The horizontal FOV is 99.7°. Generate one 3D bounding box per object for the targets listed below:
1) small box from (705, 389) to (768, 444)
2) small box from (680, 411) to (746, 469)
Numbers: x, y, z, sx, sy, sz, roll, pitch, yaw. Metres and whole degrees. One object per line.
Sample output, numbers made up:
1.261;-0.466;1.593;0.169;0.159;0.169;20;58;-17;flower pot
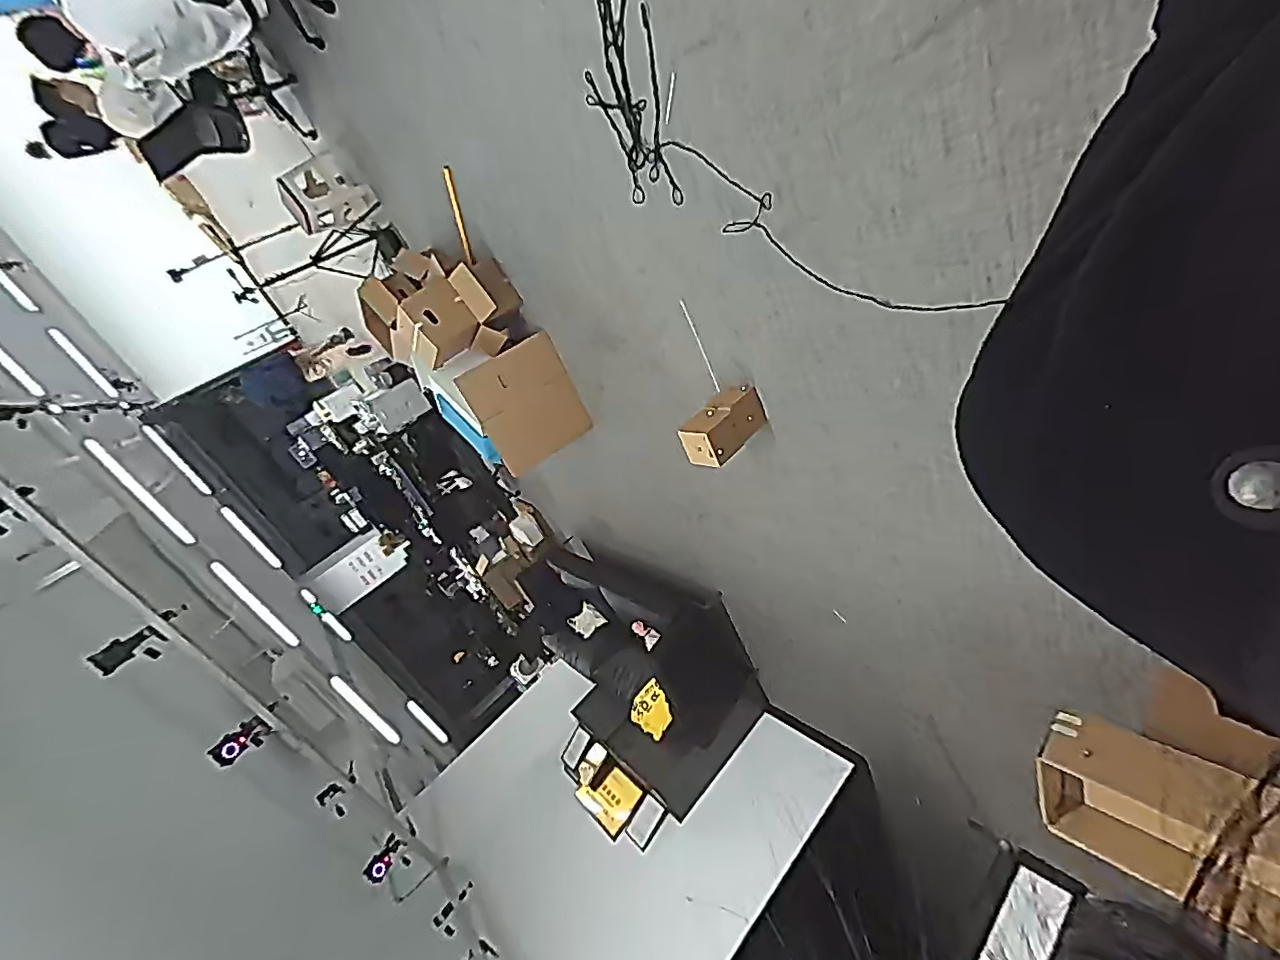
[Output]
0.410;-0.272;2.280;0.168;0.176;0.179;12;137;53;small box
0.300;-0.170;2.213;0.179;0.176;0.168;14;138;53;small box
